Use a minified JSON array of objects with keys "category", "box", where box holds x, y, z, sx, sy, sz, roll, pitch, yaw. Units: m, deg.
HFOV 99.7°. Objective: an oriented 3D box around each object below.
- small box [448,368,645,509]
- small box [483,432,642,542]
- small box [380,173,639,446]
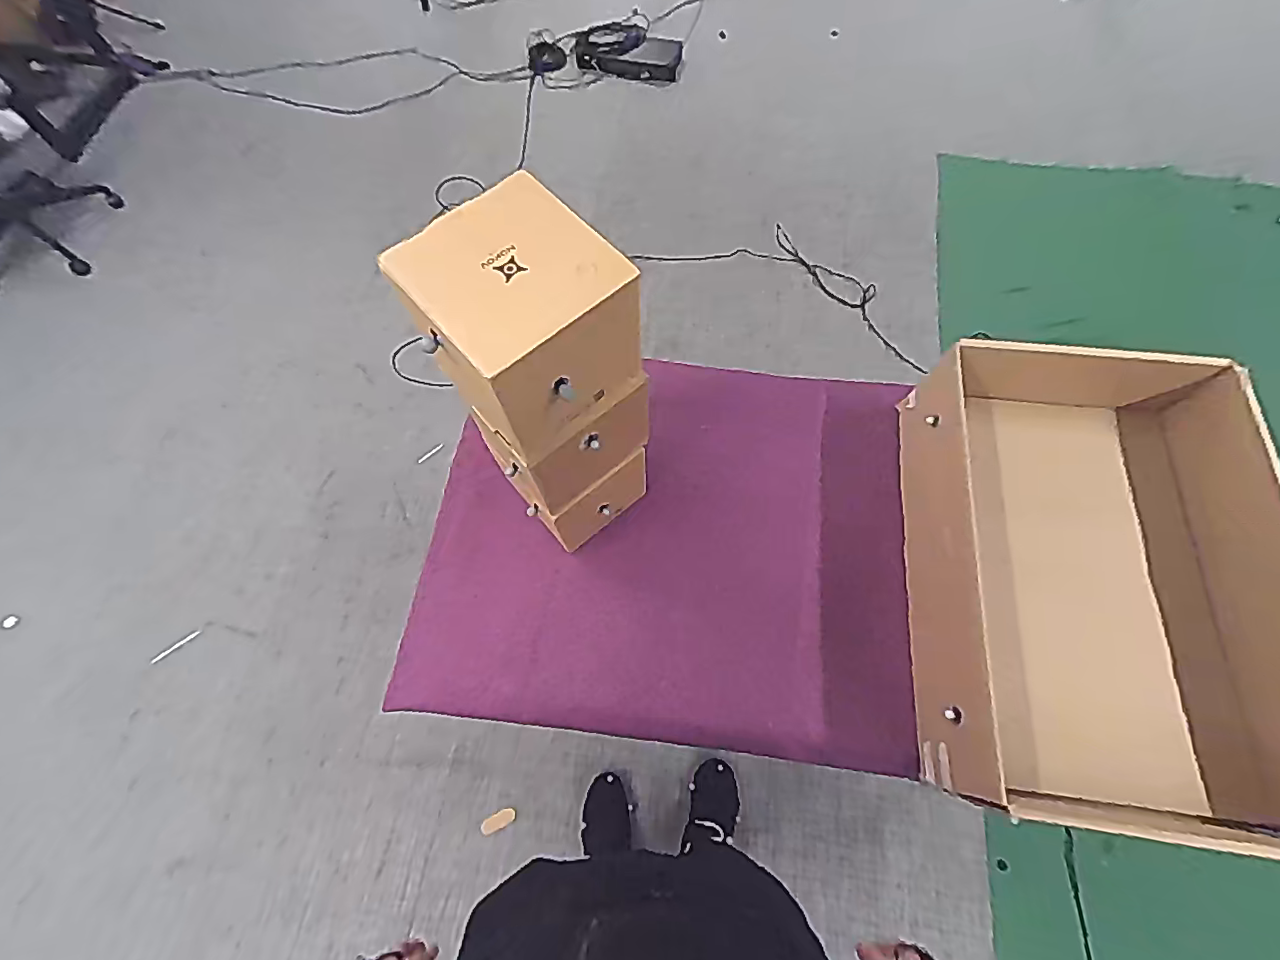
[{"category":"small box","box":[-0.106,-0.090,0.695,0.179,0.176,0.168,-38,72,-14]},{"category":"small box","box":[-0.110,-0.022,0.843,0.168,0.176,0.179,-38,71,-15]},{"category":"small box","box":[-0.113,-0.156,0.547,0.168,0.176,0.179,-40,72,-14]}]
